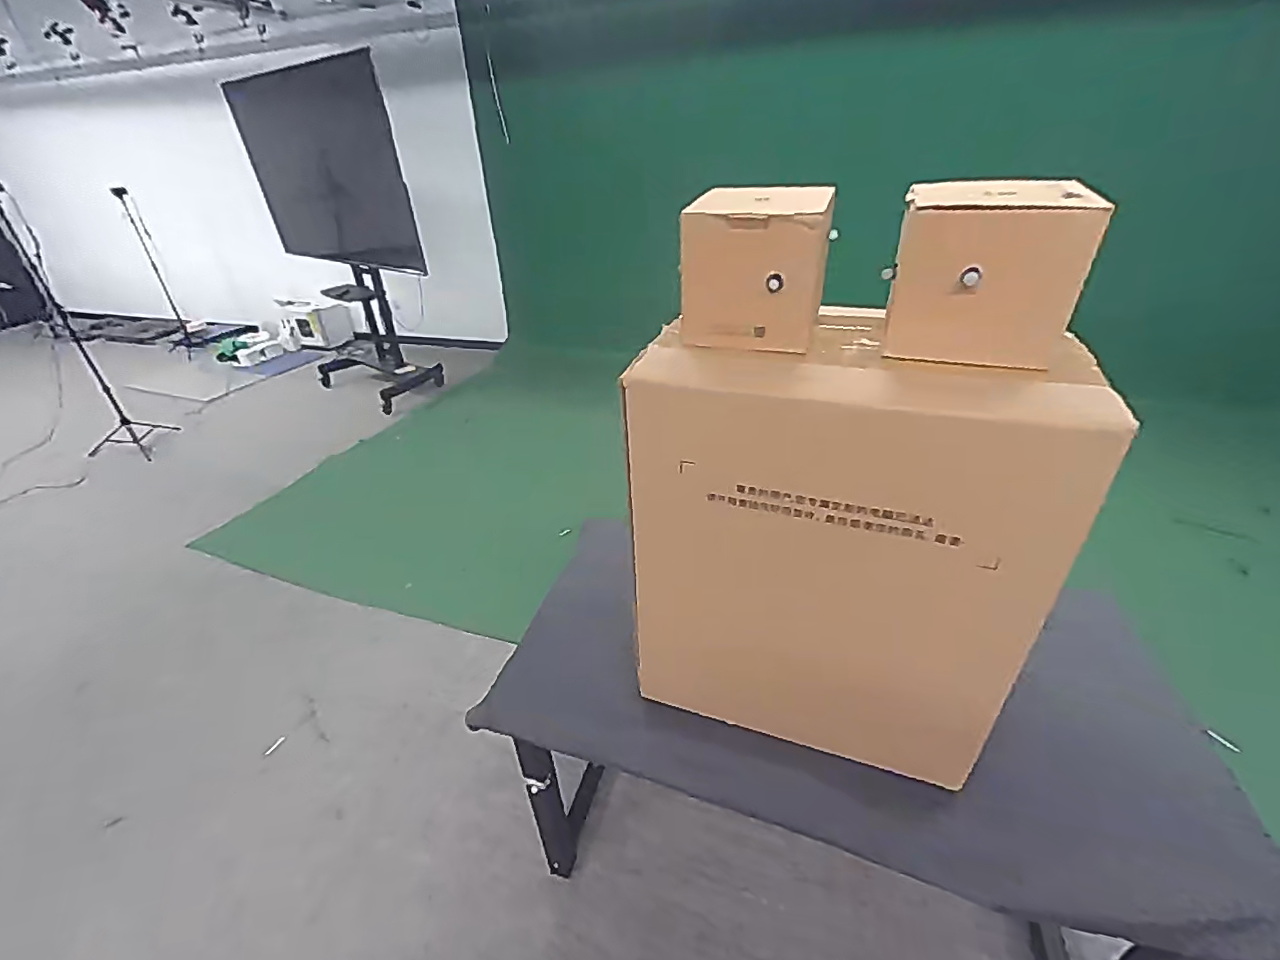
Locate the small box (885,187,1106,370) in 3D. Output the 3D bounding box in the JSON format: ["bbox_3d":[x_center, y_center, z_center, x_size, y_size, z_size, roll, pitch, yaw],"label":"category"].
[{"bbox_3d":[0.399,-0.241,0.645,0.179,0.176,0.168,9,38,20],"label":"small box"}]

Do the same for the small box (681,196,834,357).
[{"bbox_3d":[0.159,-0.276,0.729,0.168,0.176,0.179,10,36,18],"label":"small box"}]
